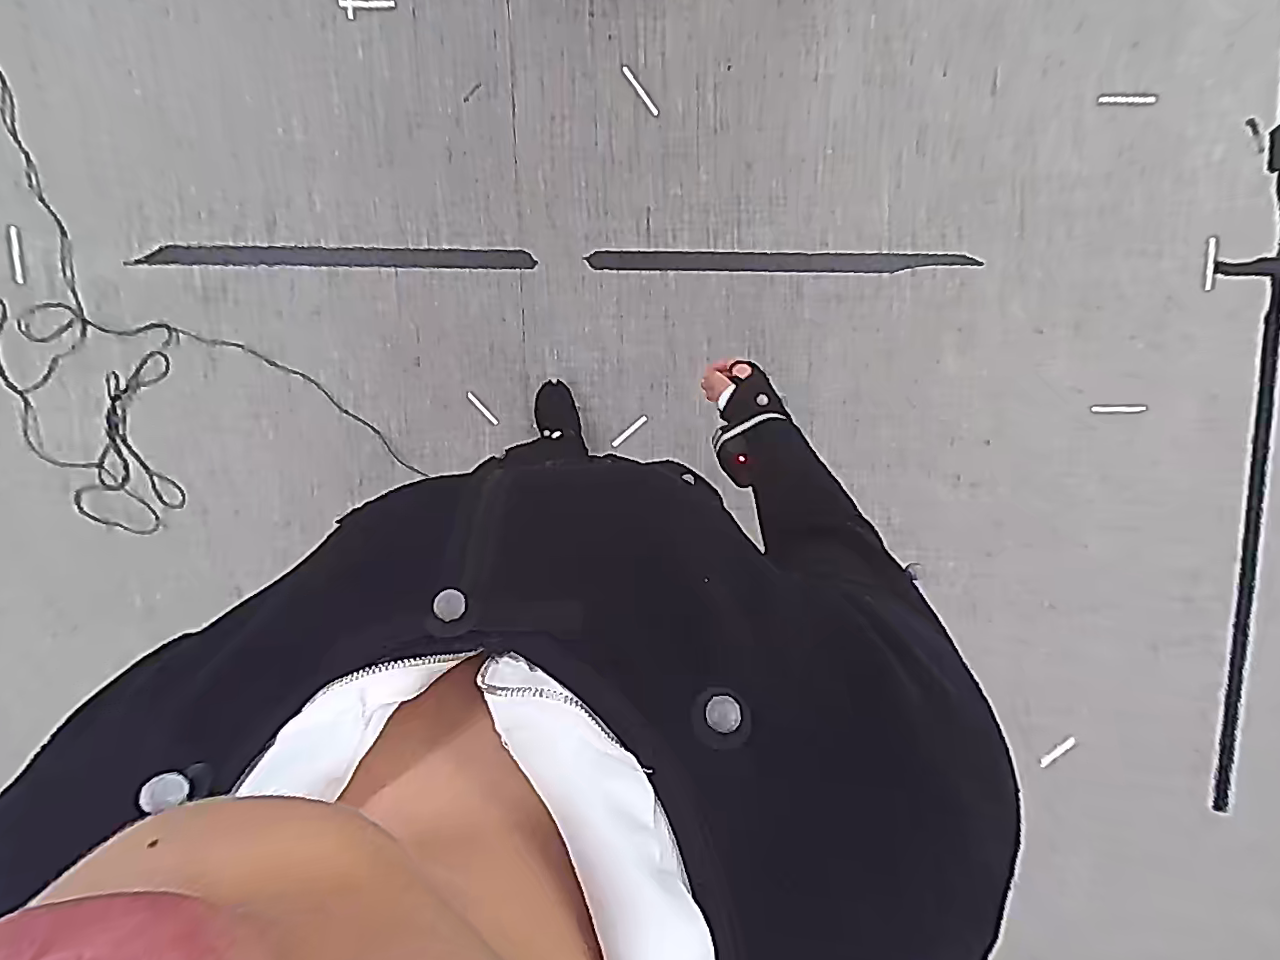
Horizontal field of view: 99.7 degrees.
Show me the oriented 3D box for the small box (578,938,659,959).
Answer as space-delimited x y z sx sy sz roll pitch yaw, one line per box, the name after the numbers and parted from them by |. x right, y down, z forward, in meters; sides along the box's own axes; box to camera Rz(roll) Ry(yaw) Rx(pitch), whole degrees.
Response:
-0.039 1.021 1.021 0.168 0.176 0.179 -1 93 -2 | small box
